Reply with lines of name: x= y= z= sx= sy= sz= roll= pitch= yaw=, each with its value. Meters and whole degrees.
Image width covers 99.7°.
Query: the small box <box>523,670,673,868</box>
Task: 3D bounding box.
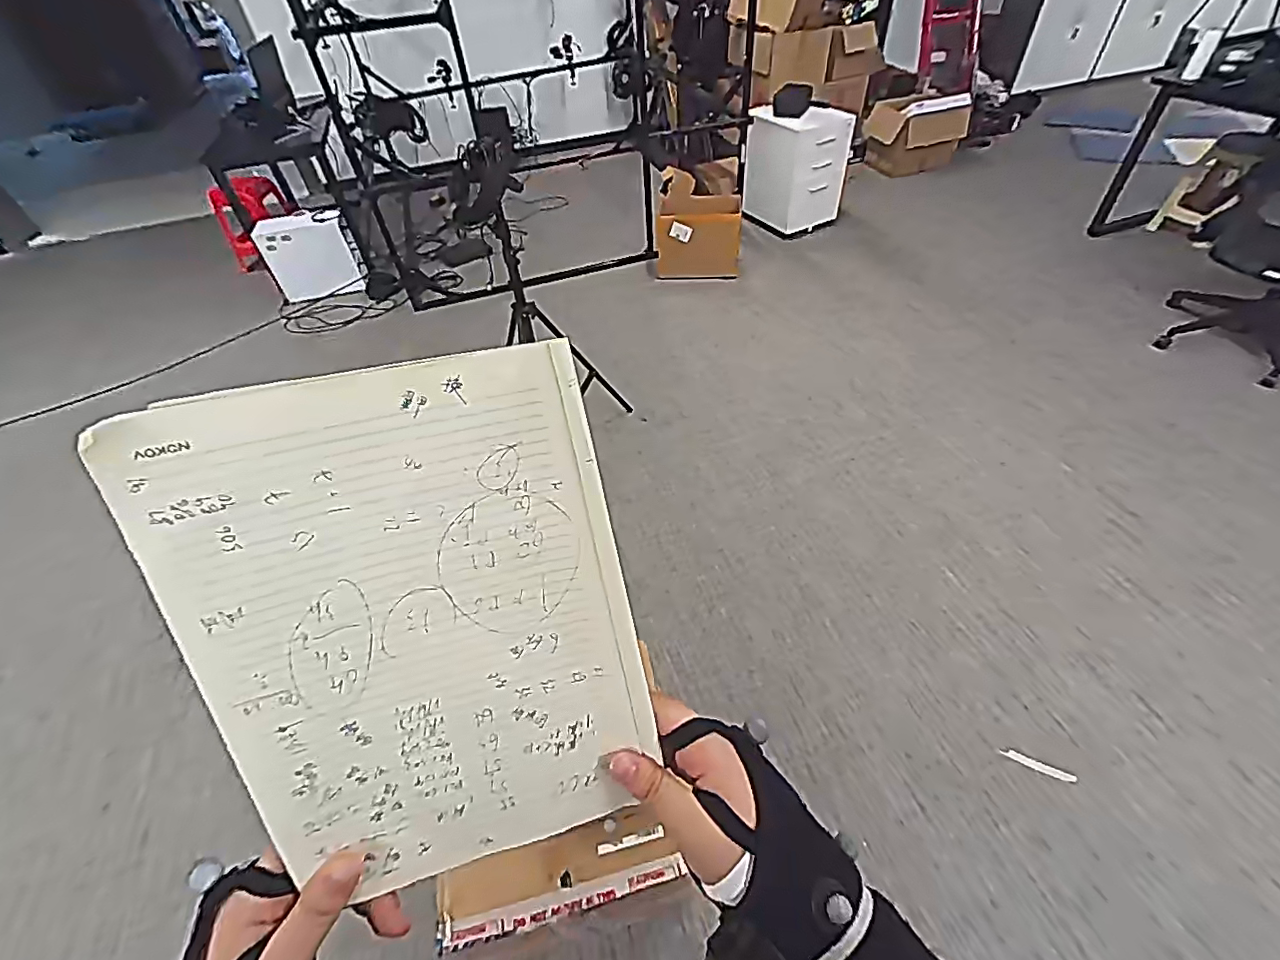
small box: x=-0.058 y=0.382 z=0.715 sx=0.168 sy=0.176 sz=0.179 roll=-9 pitch=49 yaw=-7

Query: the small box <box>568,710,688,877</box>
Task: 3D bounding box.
small box: x=-0.035 y=0.487 z=0.841 sx=0.179 sy=0.176 sz=0.168 roll=-13 pitch=48 yaw=-9
